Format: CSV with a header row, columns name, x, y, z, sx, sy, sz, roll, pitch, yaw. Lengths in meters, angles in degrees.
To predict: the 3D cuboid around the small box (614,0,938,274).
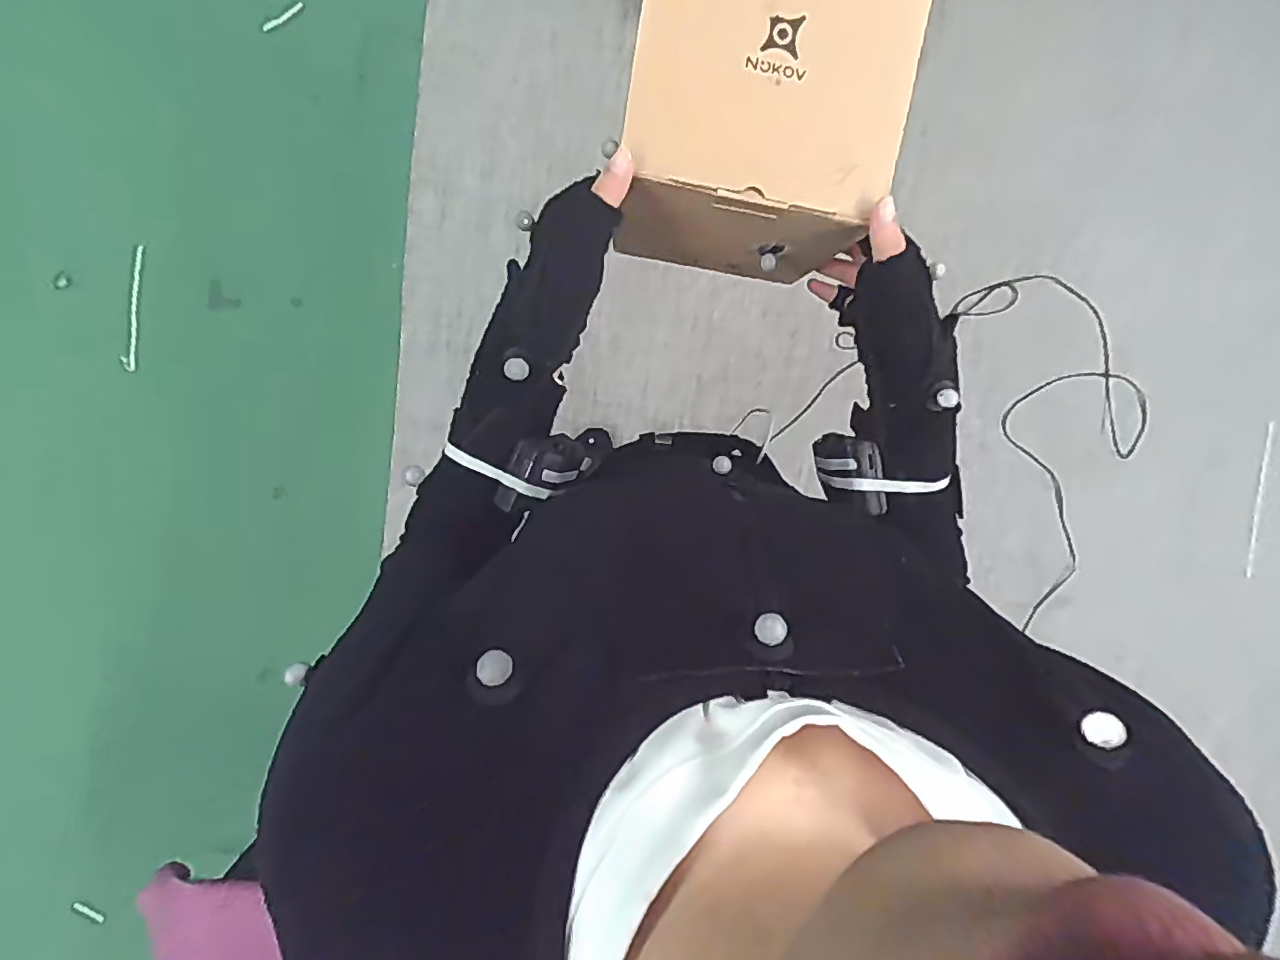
name,x,y,z,sx,sy,sz,roll,pitch,yaw
small box,0.076,-0.260,0.382,0.168,0.176,0.179,9,98,-5
